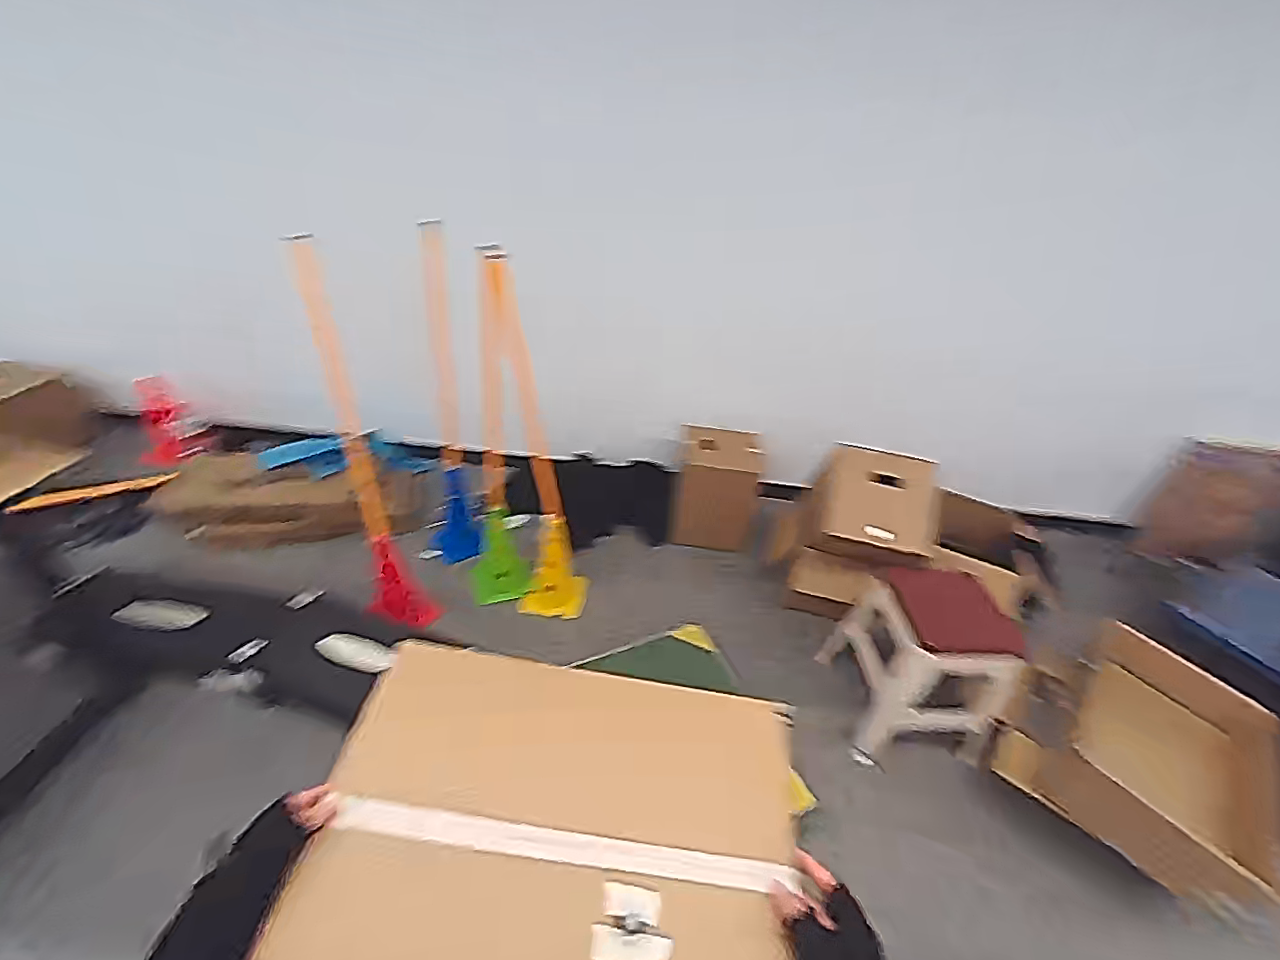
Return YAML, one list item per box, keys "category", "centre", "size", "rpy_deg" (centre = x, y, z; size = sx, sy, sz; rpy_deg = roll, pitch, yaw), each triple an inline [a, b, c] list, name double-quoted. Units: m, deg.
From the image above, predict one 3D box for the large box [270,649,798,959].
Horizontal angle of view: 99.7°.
- category: "large box"
  centre: [-0.085, 0.420, 0.567]
  size: [0.408, 0.320, 0.320]
  rpy_deg: [11, 44, -1]
